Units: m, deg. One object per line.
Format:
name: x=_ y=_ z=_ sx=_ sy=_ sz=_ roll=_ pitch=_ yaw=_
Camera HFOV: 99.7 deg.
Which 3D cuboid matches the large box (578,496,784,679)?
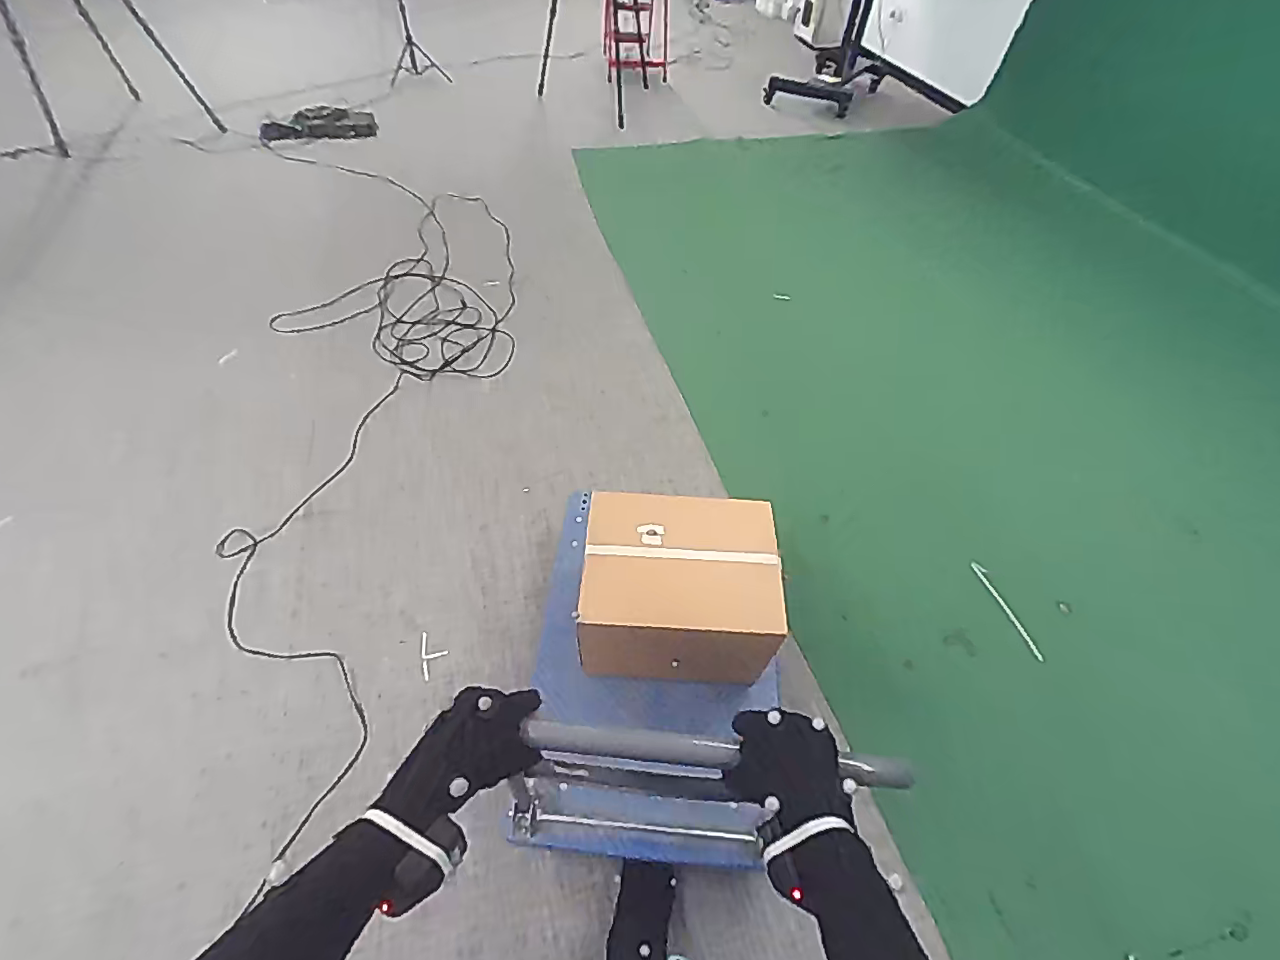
large box: x=0.079 y=0.254 z=1.241 sx=0.408 sy=0.320 sz=0.320 roll=3 pitch=52 yaw=0
